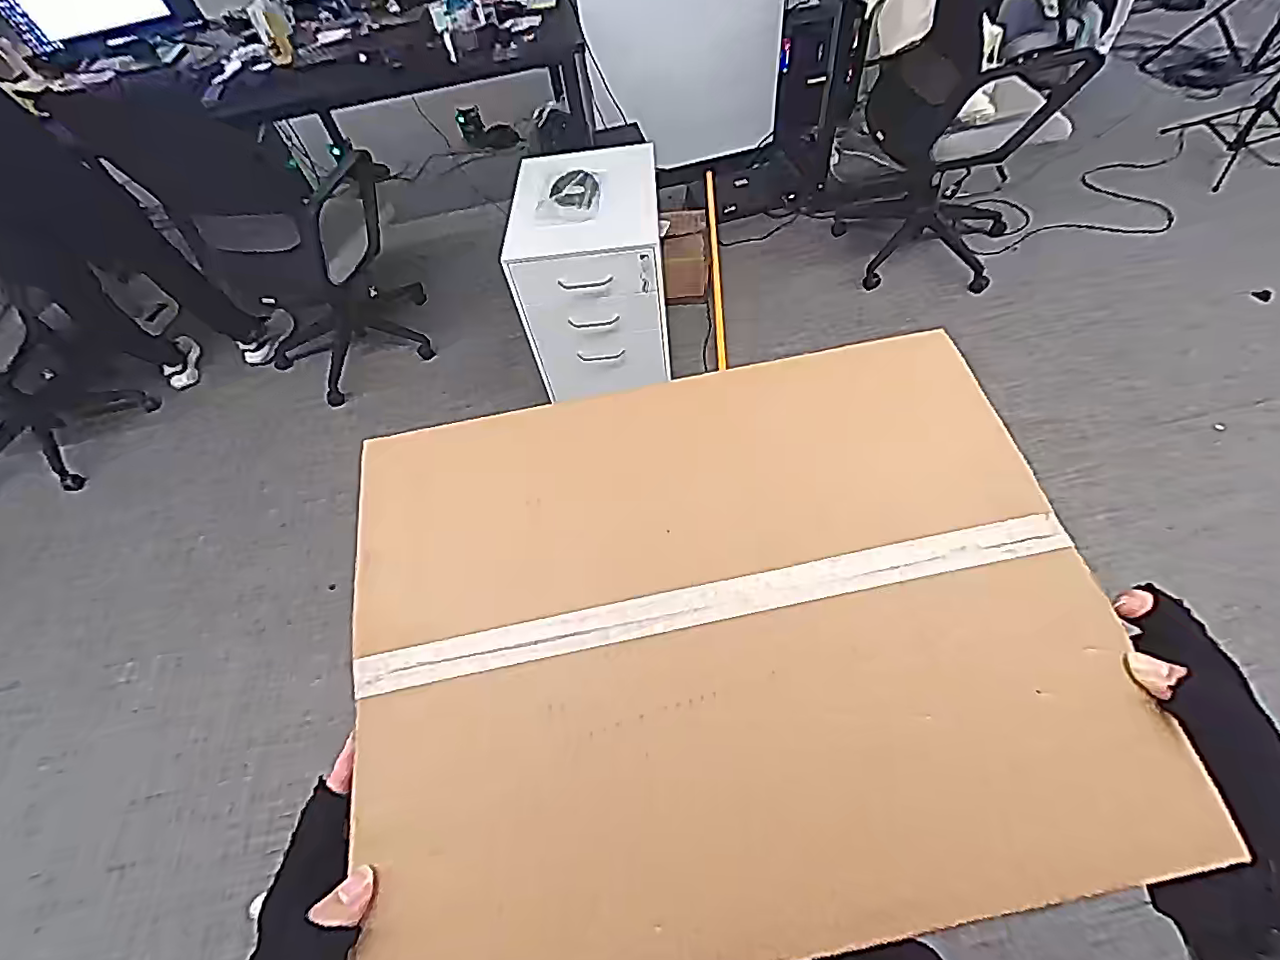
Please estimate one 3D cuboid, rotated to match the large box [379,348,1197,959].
[{"bbox_3d":[0.054,0.144,0.449,0.408,0.320,0.320,-12,64,-2],"label":"large box"}]
